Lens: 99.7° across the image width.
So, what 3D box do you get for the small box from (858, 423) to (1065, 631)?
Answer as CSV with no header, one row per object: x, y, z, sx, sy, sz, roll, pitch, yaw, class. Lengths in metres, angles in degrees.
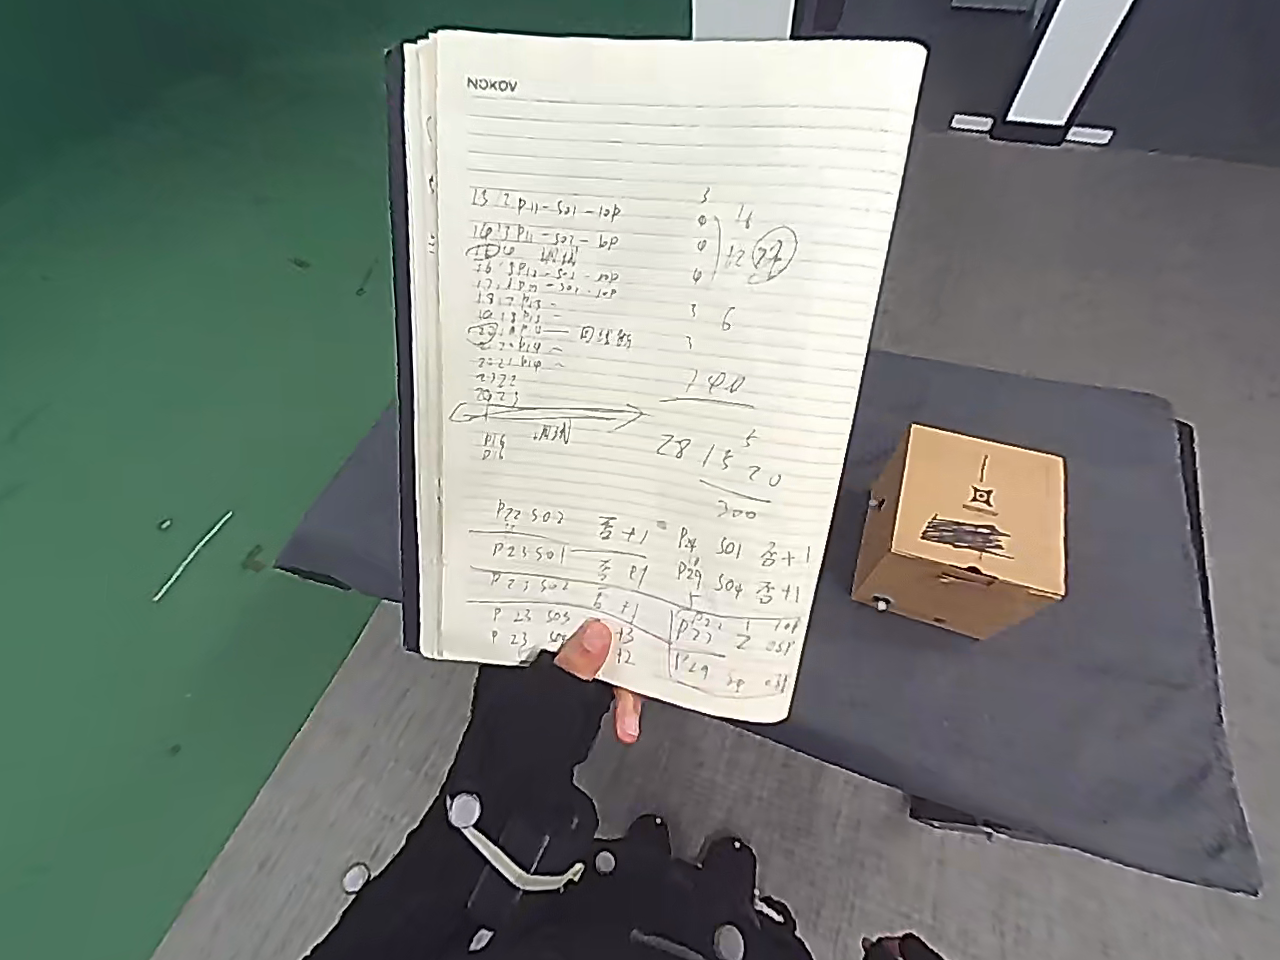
0.379,0.063,0.661,0.168,0.176,0.179,16,61,14,small box

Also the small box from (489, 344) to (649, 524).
-0.087,-0.062,0.777,0.168,0.176,0.179,12,61,13,small box
